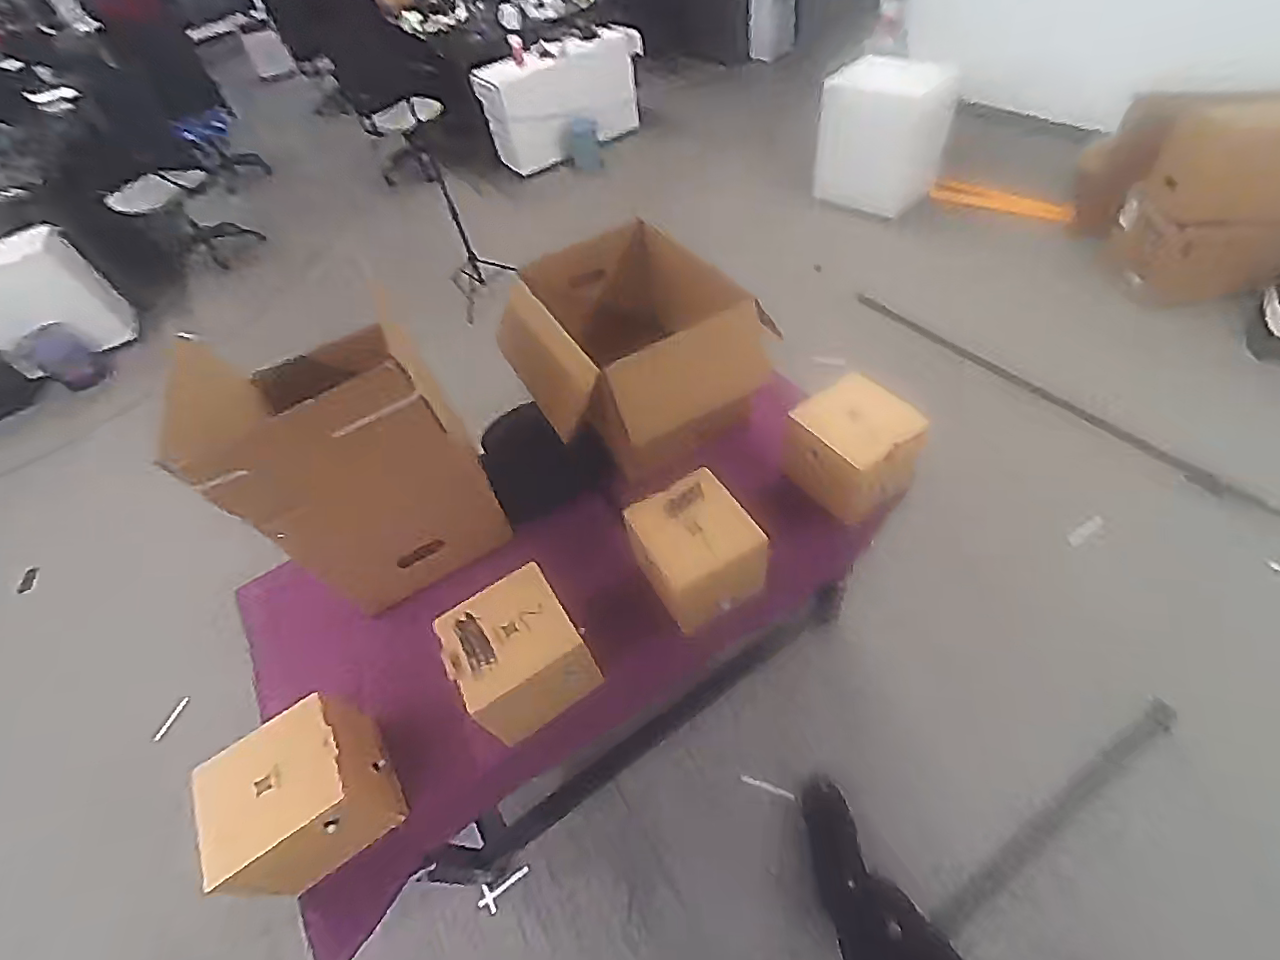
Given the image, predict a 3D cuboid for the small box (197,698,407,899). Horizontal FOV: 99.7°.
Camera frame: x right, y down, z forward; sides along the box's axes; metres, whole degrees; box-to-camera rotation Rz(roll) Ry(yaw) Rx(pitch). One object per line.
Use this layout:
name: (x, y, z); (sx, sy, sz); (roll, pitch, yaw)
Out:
small box: (-0.465, 0.450, 0.759); (0.179, 0.176, 0.168); (-33, 53, -16)

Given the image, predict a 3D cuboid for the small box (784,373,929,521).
small box: (0.382, -0.057, 0.990); (0.168, 0.176, 0.179); (-32, 53, -13)
